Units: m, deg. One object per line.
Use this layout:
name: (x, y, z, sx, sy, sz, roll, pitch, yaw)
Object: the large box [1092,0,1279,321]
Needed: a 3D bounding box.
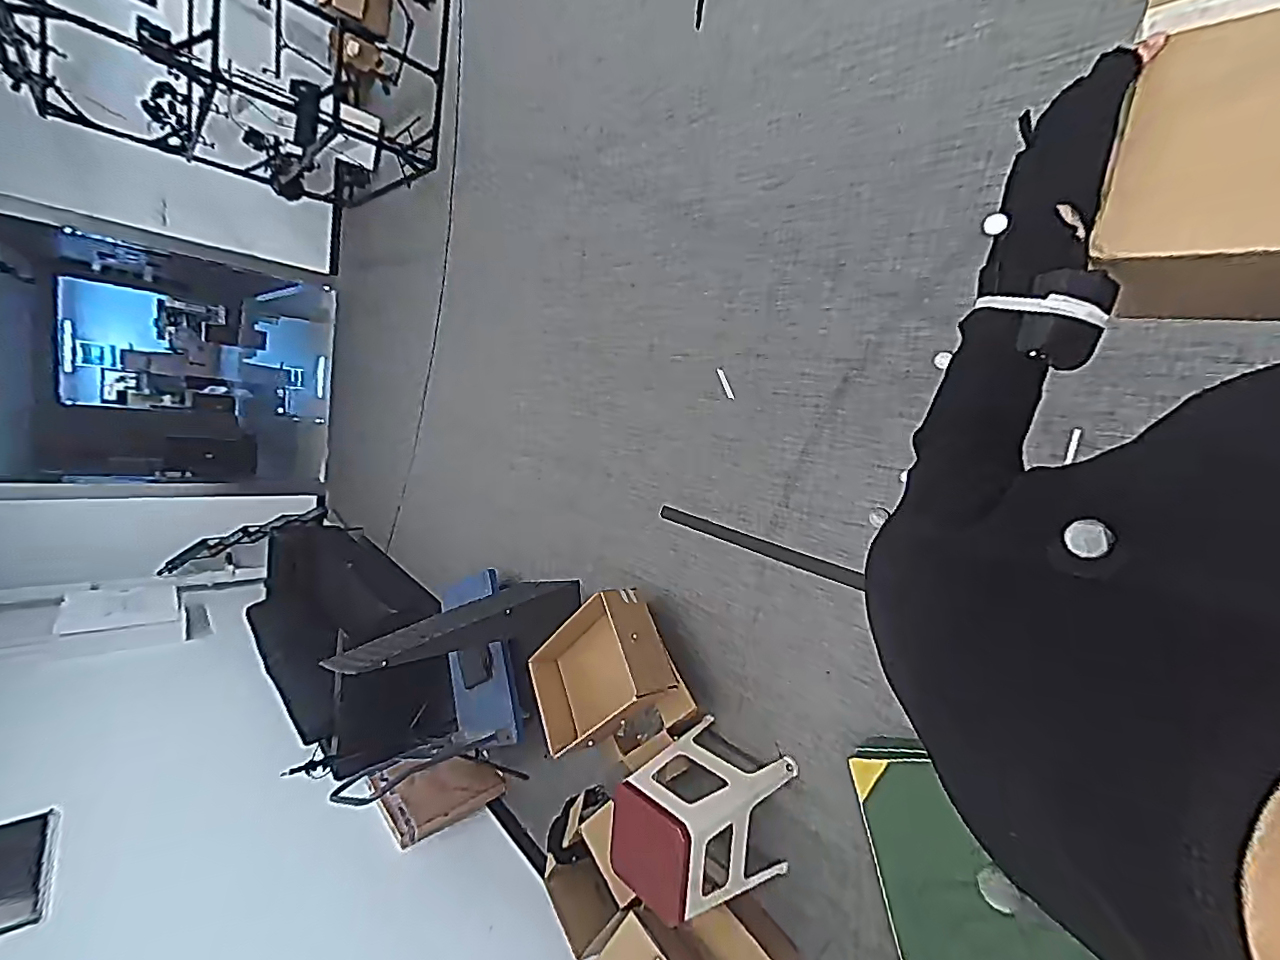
large box: (0.611, -0.291, 0.373, 0.408, 0.320, 0.320, 17, 106, 42)
